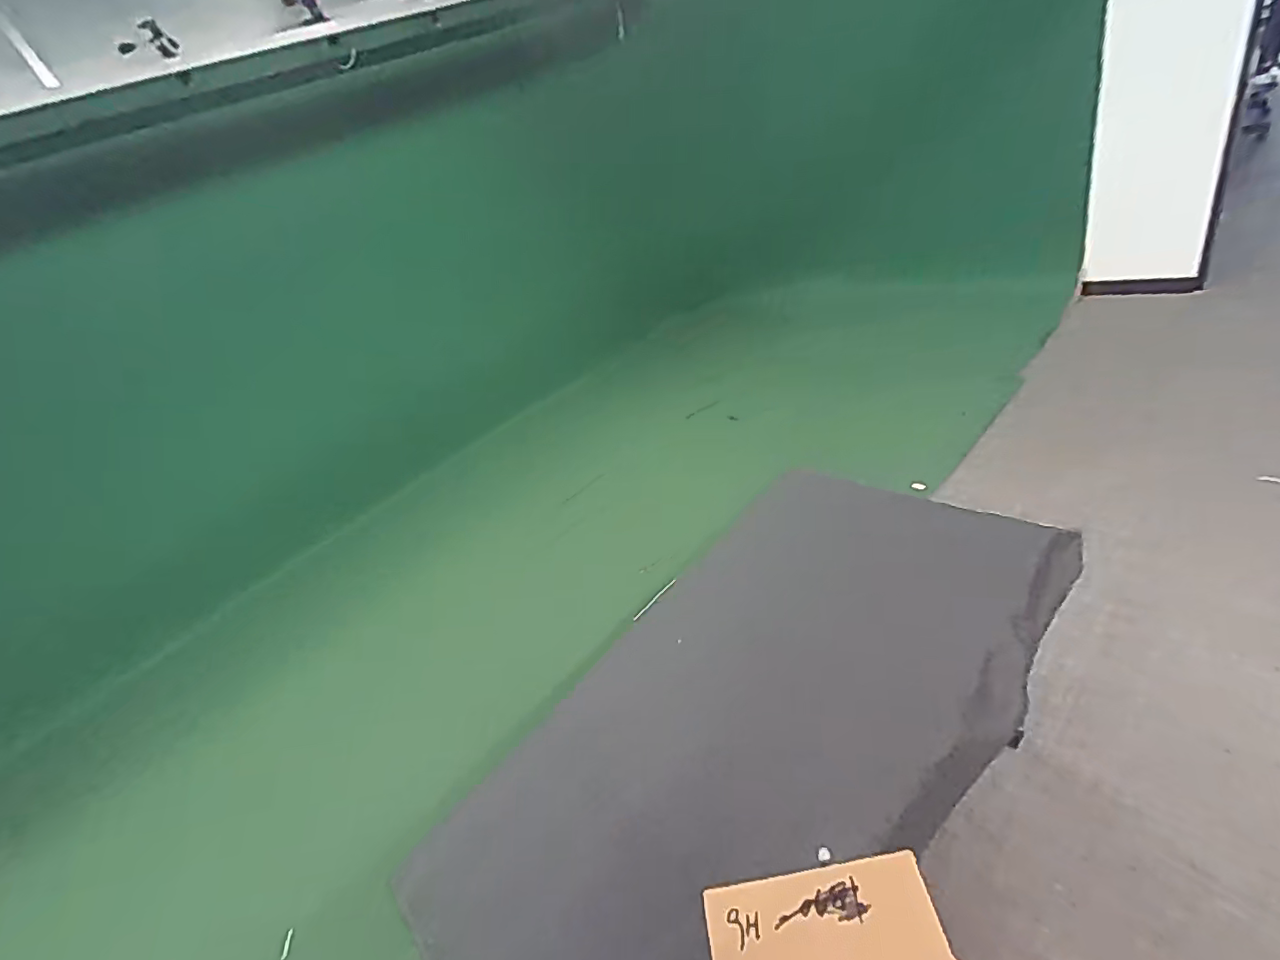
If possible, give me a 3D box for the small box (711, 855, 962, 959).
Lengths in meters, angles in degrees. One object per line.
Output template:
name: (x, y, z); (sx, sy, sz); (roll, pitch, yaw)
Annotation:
small box: (0.165, 0.412, 0.411); (0.168, 0.176, 0.179); (-16, 46, 7)
